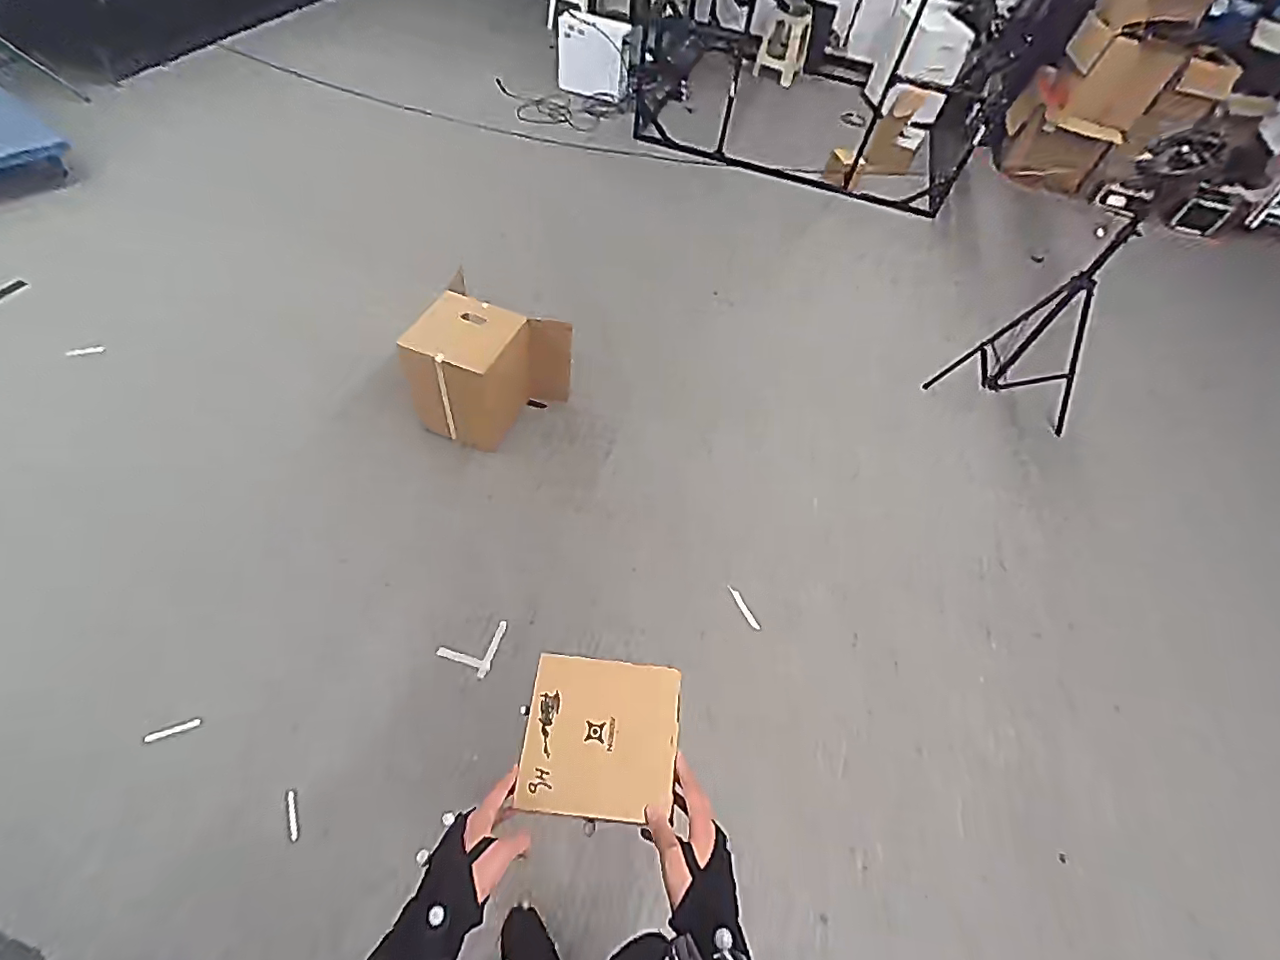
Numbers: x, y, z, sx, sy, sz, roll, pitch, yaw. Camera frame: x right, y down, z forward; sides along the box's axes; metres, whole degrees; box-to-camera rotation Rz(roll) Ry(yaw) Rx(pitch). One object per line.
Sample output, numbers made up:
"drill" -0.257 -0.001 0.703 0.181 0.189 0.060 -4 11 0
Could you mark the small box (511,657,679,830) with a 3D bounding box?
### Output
"small box" -0.055 0.341 0.695 0.179 0.176 0.168 8 58 -2
